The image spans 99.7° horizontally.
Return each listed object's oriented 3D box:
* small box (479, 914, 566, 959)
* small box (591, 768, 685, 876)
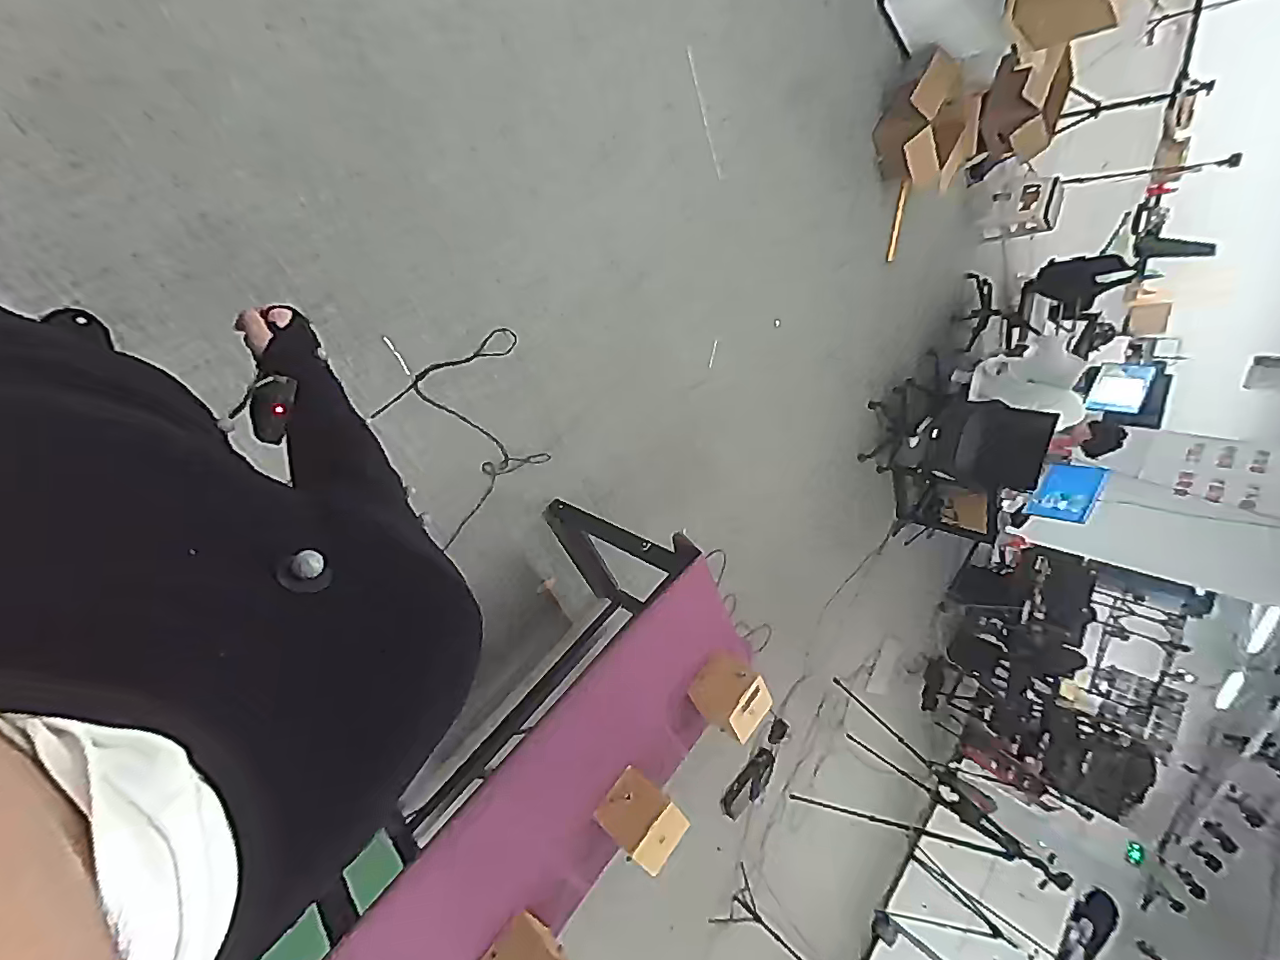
[{"bbox_3d":[-0.280,1.225,1.328,0.168,0.176,0.179,-44,129,-29],"label":"small box"},{"bbox_3d":[-0.006,0.951,1.516,0.168,0.176,0.179,-45,130,-25],"label":"small box"}]
